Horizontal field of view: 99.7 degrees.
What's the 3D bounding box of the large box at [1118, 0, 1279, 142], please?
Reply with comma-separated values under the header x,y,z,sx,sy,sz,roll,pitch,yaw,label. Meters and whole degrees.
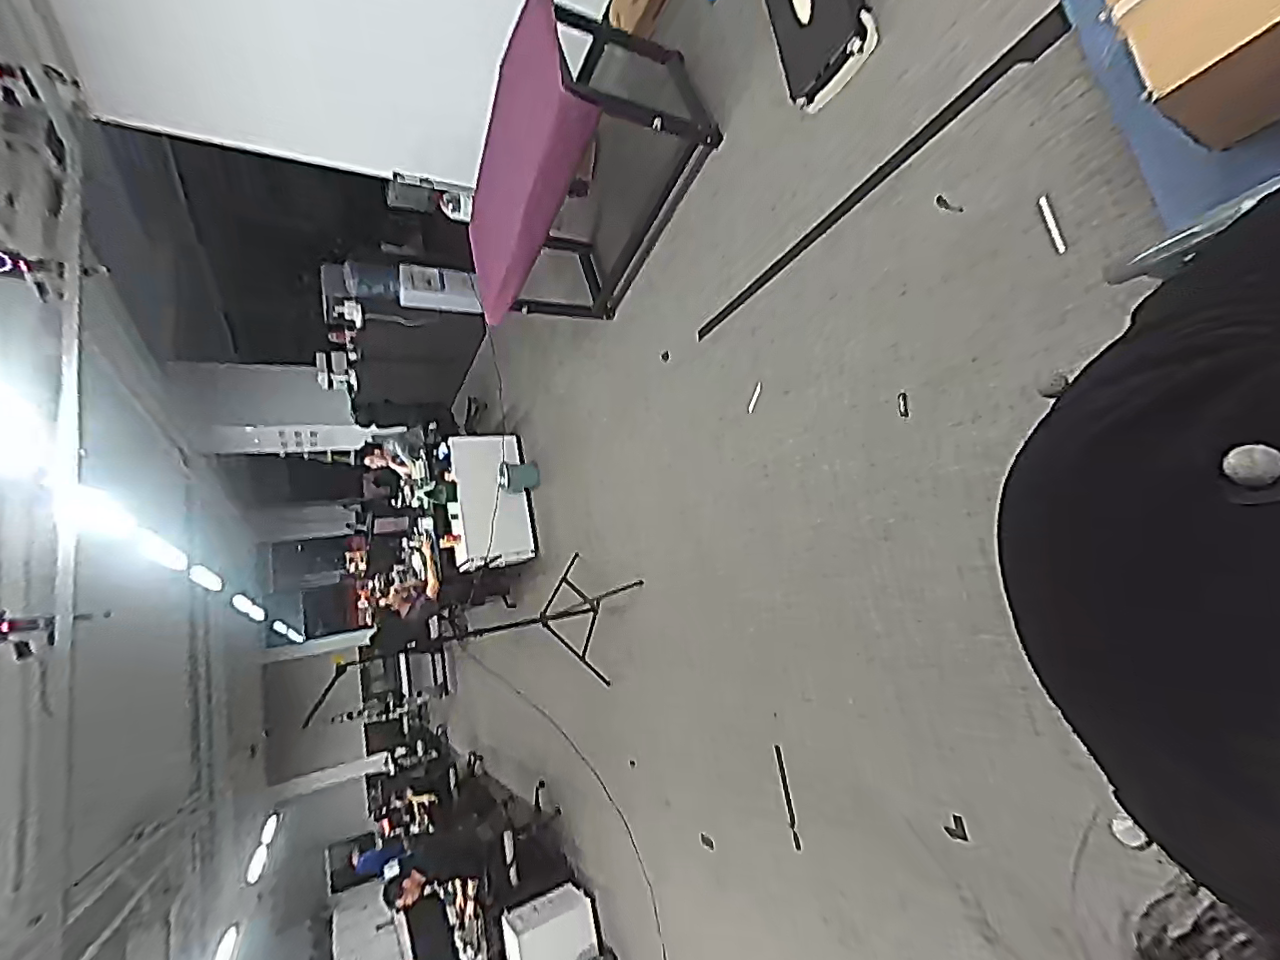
x,y,z,sx,sy,sz,roll,pitch,yaw,label
0.951,-0.761,0.718,0.408,0.320,0.320,-28,69,58,large box
